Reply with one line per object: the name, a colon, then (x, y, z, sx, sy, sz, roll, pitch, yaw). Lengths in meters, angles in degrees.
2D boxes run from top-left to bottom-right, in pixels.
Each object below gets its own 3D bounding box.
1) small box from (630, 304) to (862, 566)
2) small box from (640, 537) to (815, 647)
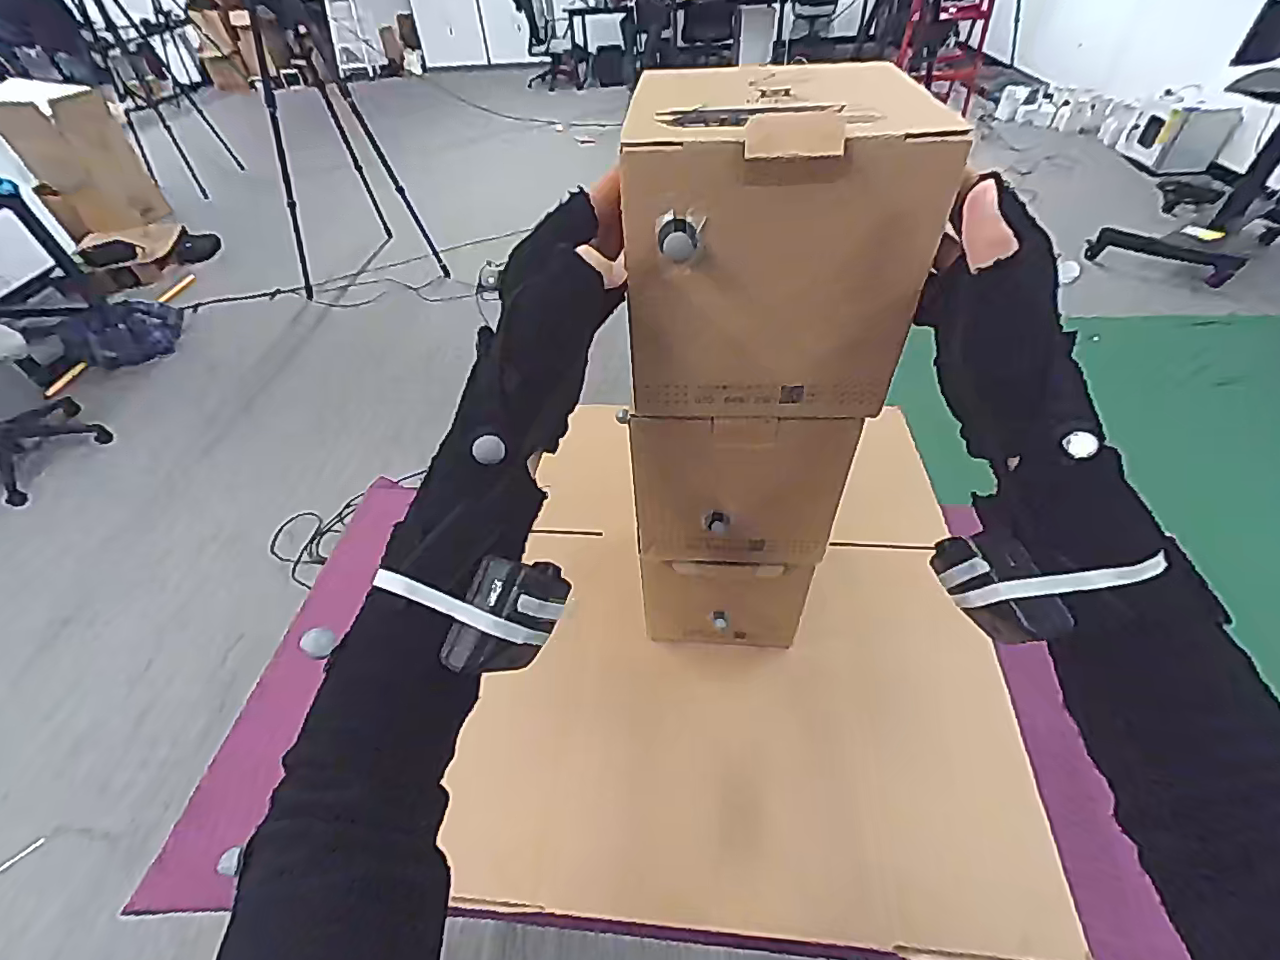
small box: (0.082, -0.043, 0.495, 0.168, 0.176, 0.179, 1, 46, 5)
small box: (0.093, 0.066, 0.616, 0.168, 0.176, 0.179, 1, 46, 7)
